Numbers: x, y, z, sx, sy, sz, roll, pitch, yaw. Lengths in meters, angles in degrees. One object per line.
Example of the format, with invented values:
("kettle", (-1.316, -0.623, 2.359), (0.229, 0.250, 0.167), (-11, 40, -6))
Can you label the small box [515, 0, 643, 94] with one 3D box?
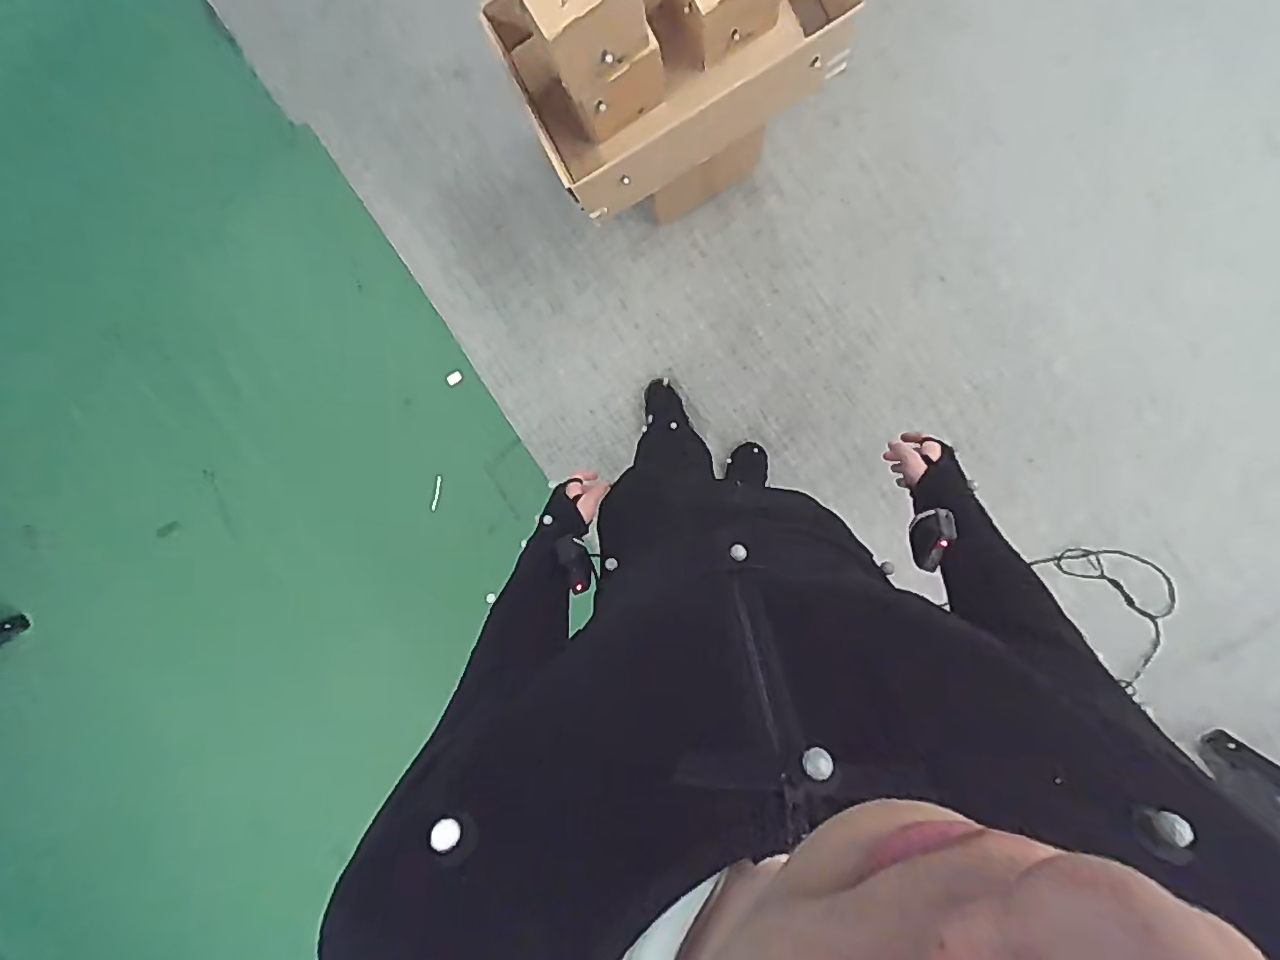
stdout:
("small box", (-0.111, -0.793, 0.882), (0.168, 0.176, 0.179), (-30, 93, 11))
